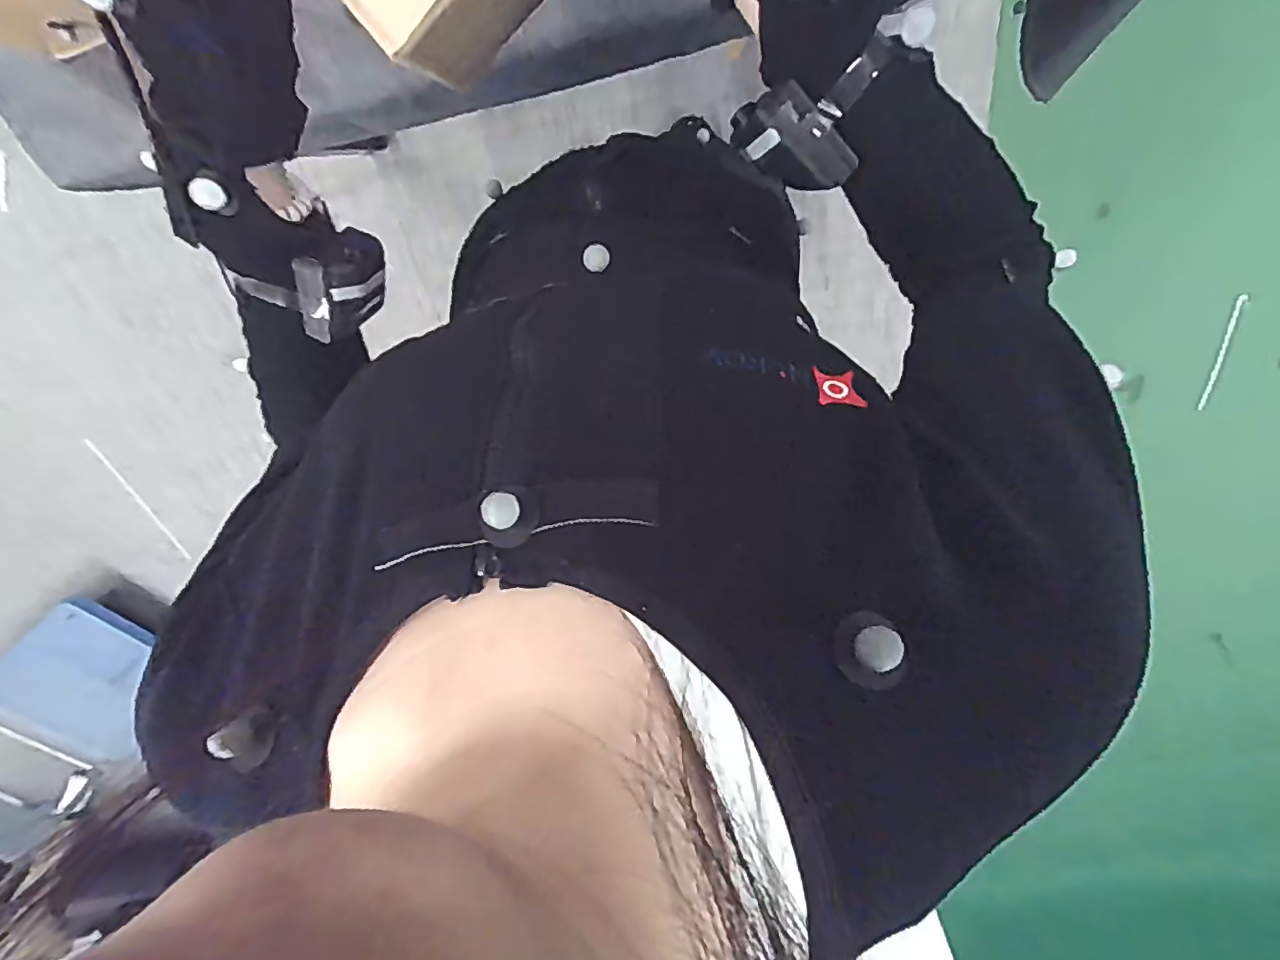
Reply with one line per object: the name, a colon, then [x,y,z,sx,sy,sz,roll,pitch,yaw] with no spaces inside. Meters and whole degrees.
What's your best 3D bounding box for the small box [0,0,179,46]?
small box: [-0.528,-0.473,0.414,0.168,0.176,0.179,-12,122,8]
